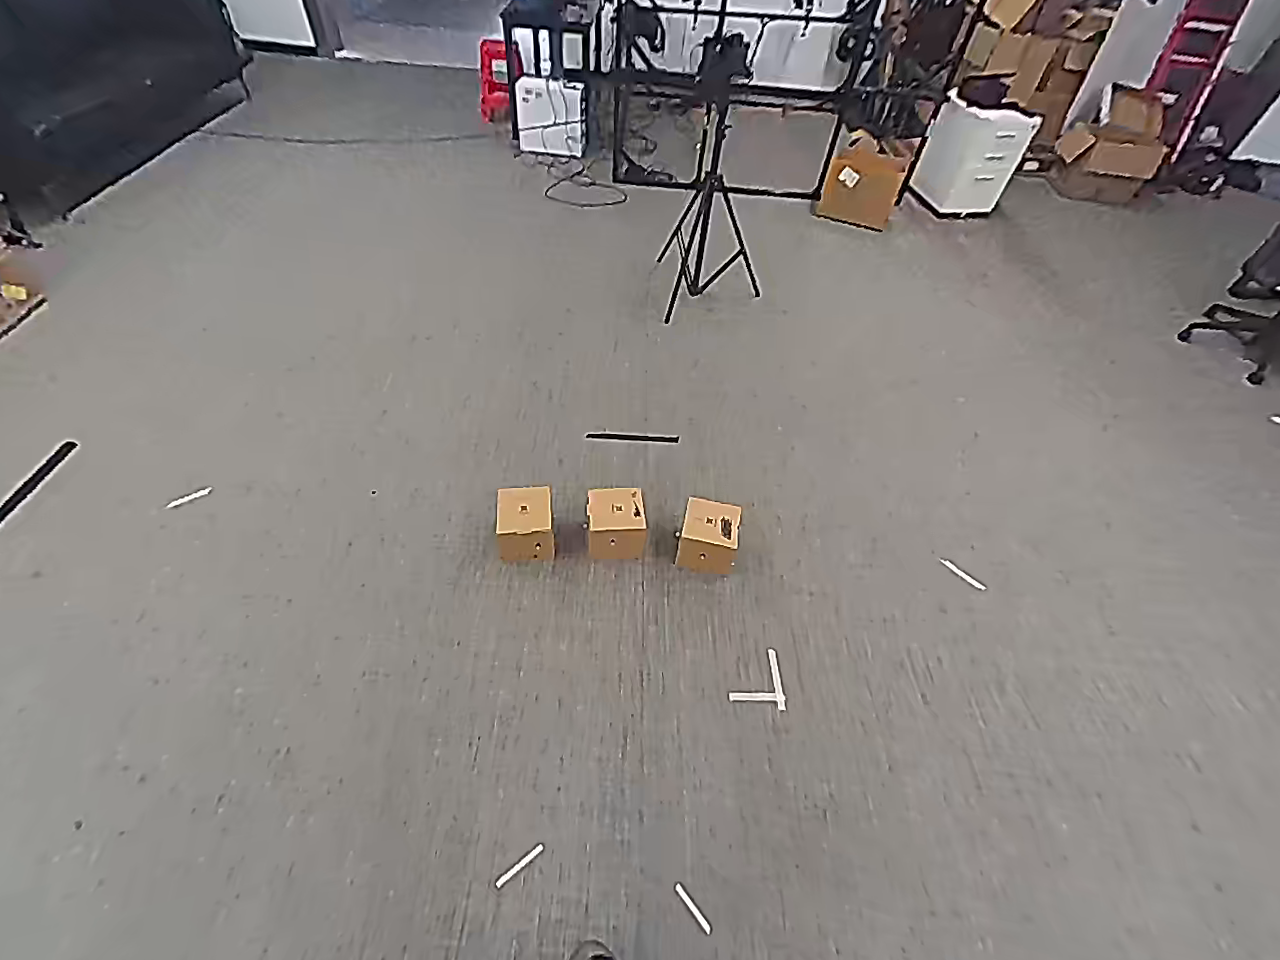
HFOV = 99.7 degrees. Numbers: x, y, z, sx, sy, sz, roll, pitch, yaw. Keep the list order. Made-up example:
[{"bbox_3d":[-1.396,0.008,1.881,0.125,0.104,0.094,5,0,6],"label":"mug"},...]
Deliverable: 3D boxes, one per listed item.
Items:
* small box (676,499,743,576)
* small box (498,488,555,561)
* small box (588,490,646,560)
[{"bbox_3d":[0.224,0.191,1.746,0.179,0.176,0.168,12,49,6],"label":"small box"},{"bbox_3d":[-0.360,0.149,1.731,0.168,0.176,0.179,-3,49,-9],"label":"small box"},{"bbox_3d":[-0.076,0.149,1.755,0.179,0.176,0.168,-2,50,-6],"label":"small box"}]
